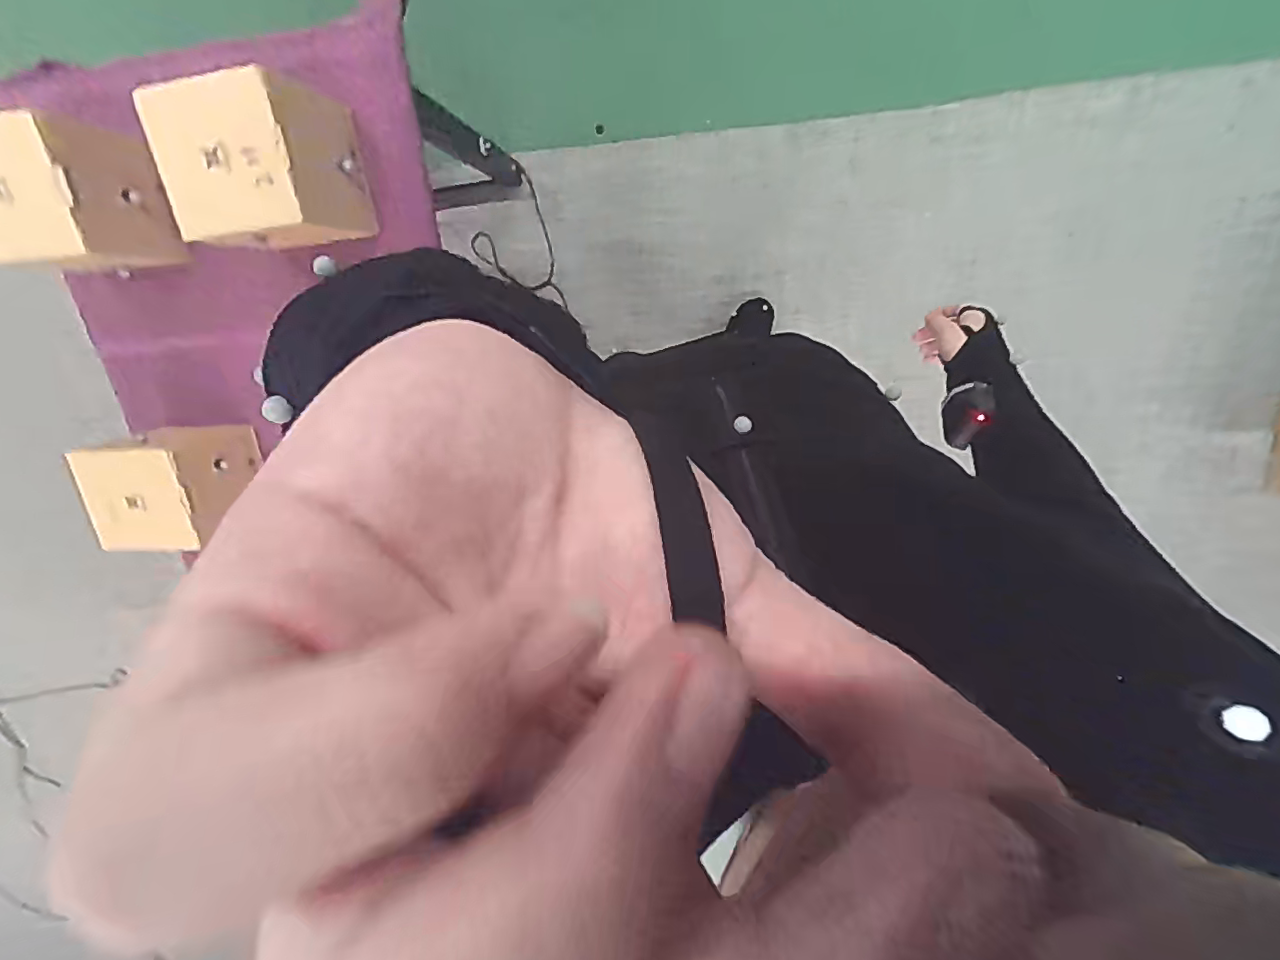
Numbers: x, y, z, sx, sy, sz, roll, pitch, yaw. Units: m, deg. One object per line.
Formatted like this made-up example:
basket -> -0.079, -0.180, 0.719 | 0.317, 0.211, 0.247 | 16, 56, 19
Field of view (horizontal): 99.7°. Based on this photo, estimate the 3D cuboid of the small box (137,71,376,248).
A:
small box -> -0.497, -0.414, 0.730 | 0.179, 0.176, 0.168 | -3, 109, 8

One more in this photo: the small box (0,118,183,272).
small box -> -0.809, -0.393, 0.772 | 0.179, 0.176, 0.168 | -3, 108, 4

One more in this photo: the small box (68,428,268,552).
small box -> -0.766, 0.010, 0.905 | 0.179, 0.176, 0.168 | -1, 107, 6
